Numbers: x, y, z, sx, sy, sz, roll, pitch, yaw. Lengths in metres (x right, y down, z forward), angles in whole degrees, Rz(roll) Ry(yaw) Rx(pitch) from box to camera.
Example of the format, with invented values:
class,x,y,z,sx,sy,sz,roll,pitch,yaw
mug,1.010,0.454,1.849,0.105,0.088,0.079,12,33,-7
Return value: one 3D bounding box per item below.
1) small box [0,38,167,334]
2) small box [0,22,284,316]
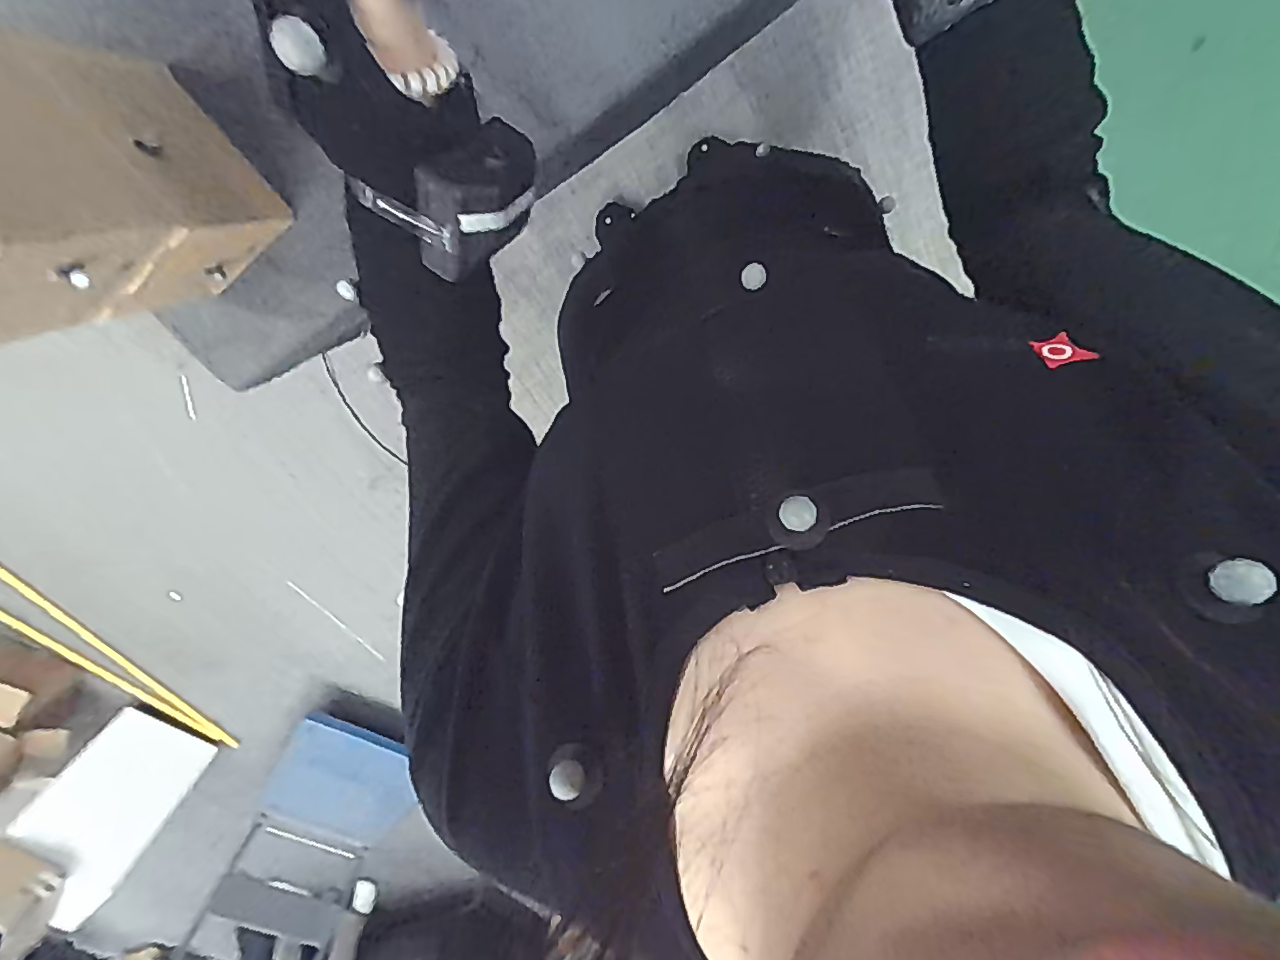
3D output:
class,x,y,z,sx,sy,sz,roll,pitch,yaw
small box,-0.531,-0.222,0.408,0.168,0.176,0.179,-29,115,17
small box,-0.525,-0.301,0.550,0.168,0.176,0.179,-29,116,18
